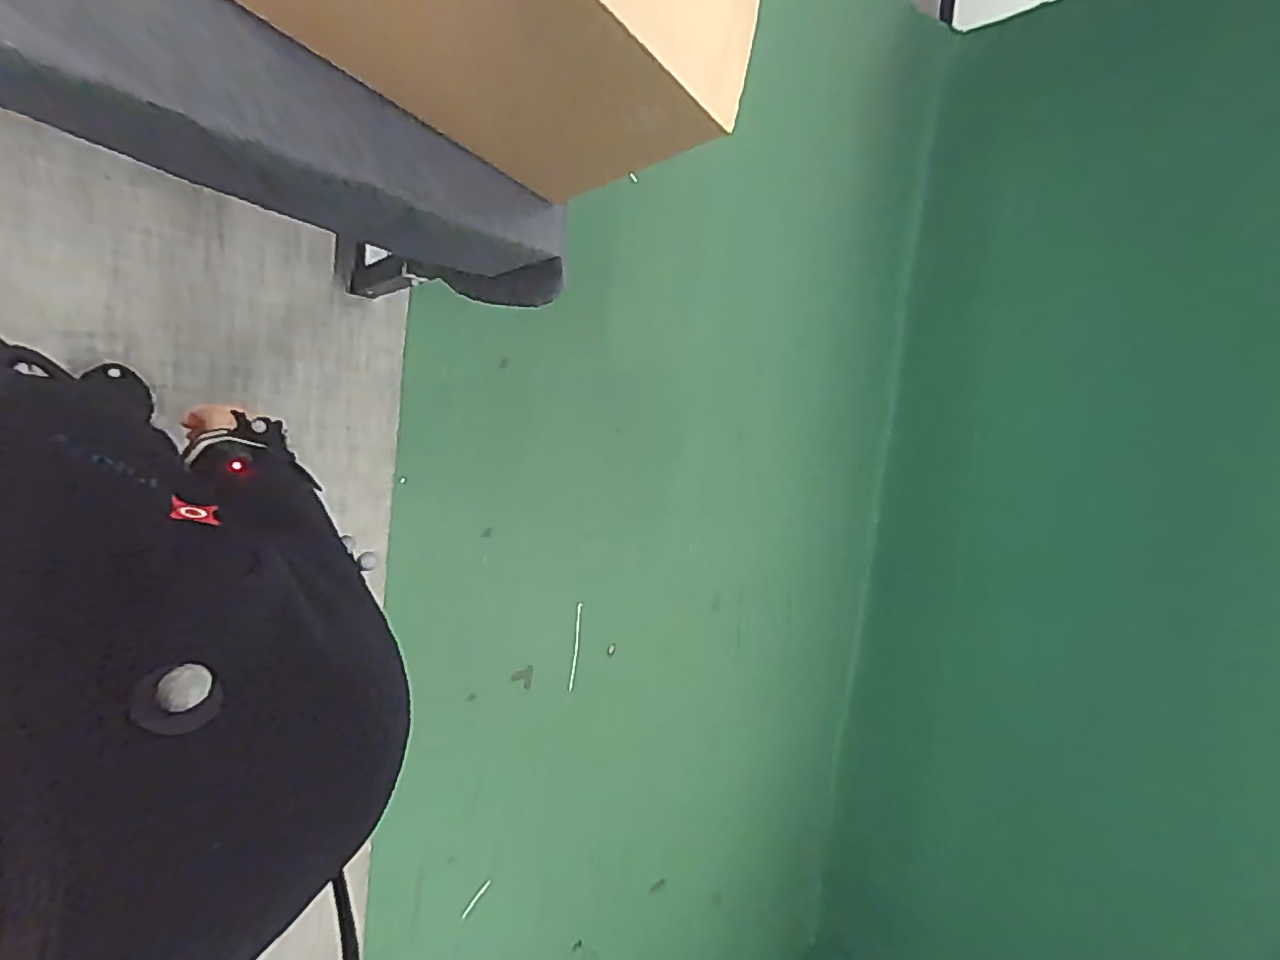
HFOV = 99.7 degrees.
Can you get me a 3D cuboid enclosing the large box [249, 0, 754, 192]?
[{"bbox_3d":[-0.123,-0.559,0.525,0.408,0.320,0.320,11,90,-47],"label":"large box"}]
